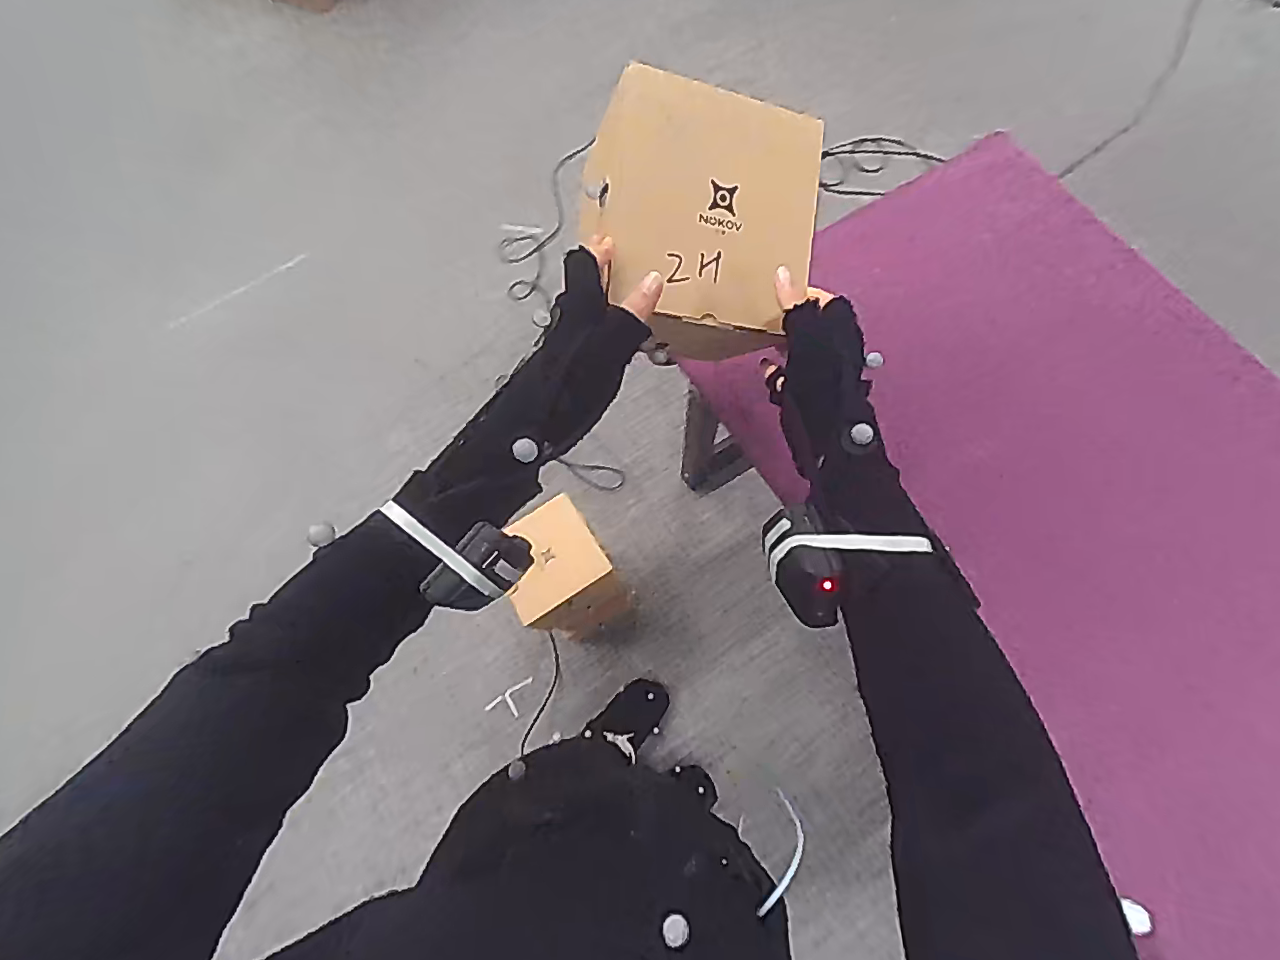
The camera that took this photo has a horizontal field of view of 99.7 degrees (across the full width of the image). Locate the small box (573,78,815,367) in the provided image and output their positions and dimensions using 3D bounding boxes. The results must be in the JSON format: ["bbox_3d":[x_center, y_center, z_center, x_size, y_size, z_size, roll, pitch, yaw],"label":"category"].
[{"bbox_3d":[0.036,-0.210,0.499,0.168,0.176,0.179,4,94,-17],"label":"small box"}]

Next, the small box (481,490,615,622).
[{"bbox_3d":[-0.158,0.146,0.998,0.179,0.176,0.168,-32,74,-5],"label":"small box"}]
